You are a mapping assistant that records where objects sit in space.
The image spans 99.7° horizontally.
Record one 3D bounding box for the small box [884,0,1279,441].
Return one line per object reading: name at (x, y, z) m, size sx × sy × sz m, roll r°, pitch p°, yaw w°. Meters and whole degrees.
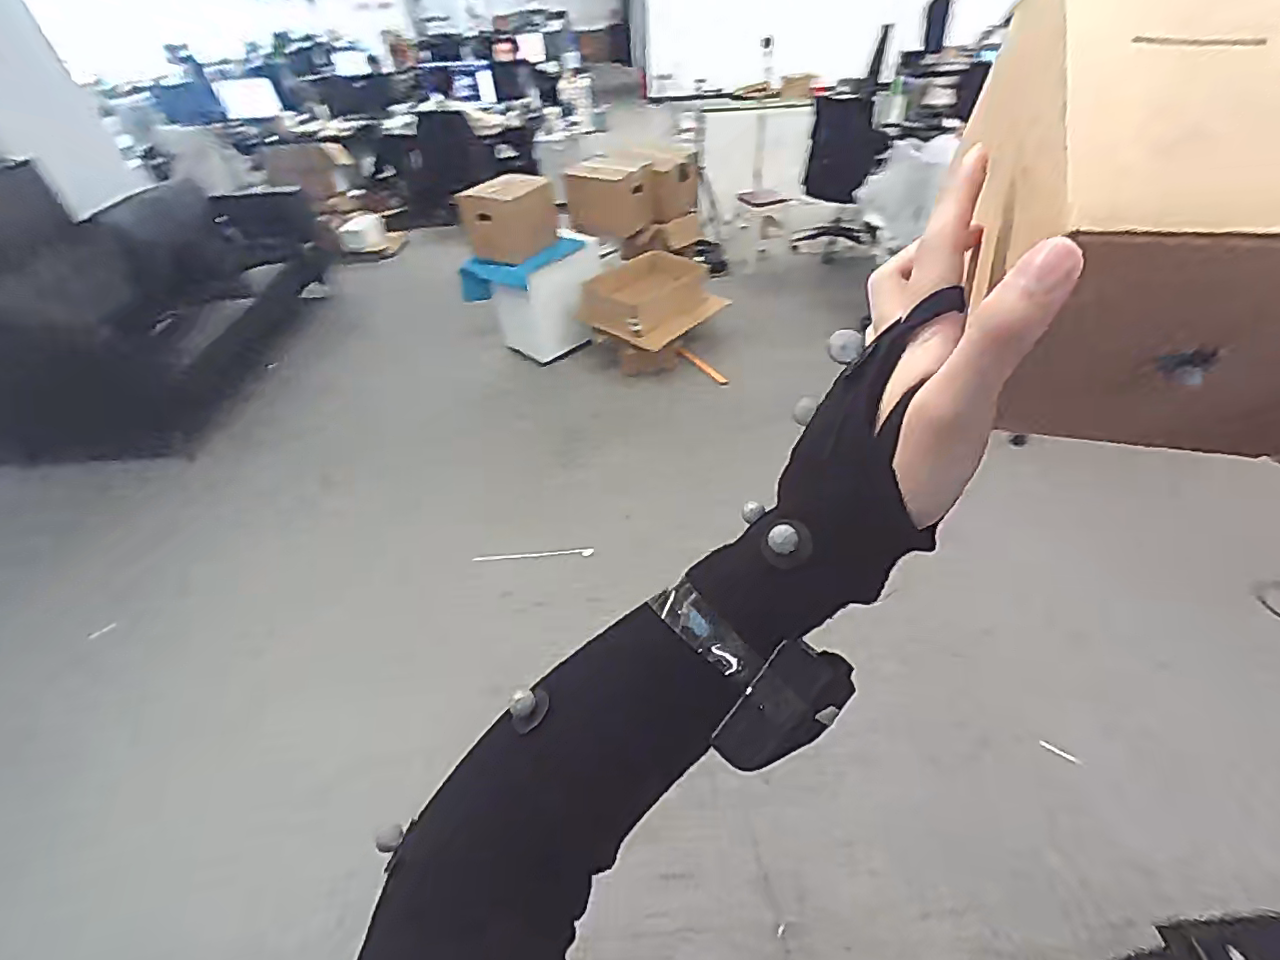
small box at (0.240, -0.128, 0.271) m, size 0.179 × 0.176 × 0.168 m, roll 7°, pitch 75°, yaw 14°
